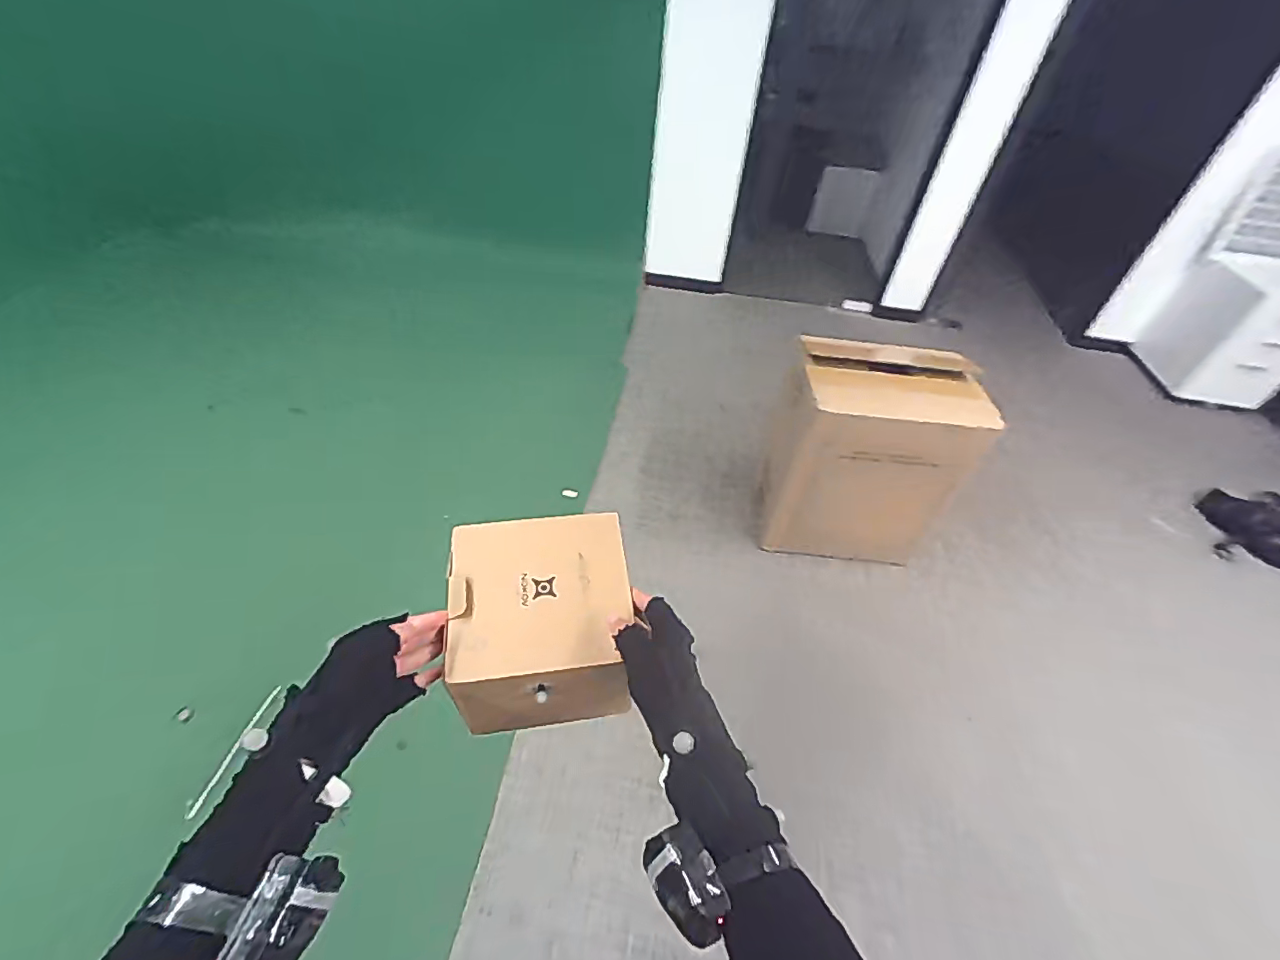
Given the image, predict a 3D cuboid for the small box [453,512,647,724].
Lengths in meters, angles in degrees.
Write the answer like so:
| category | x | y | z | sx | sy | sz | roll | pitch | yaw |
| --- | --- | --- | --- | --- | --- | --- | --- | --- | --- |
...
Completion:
| category | x | y | z | sx | sy | sz | roll | pitch | yaw |
| --- | --- | --- | --- | --- | --- | --- | --- | --- | --- |
| small box | -0.096 | 0.154 | 0.593 | 0.179 | 0.176 | 0.168 | -3 | 52 | -10 |
